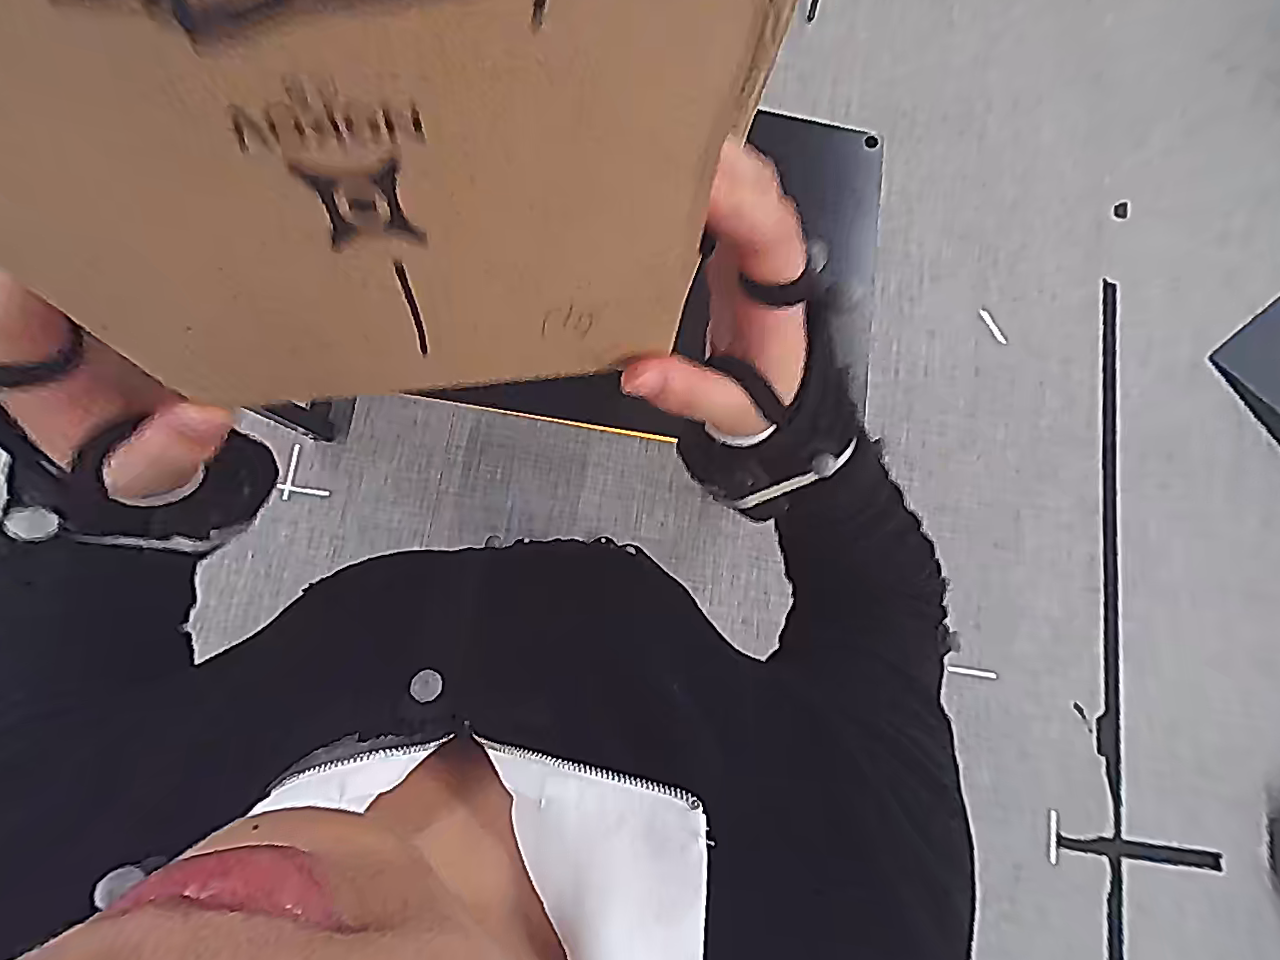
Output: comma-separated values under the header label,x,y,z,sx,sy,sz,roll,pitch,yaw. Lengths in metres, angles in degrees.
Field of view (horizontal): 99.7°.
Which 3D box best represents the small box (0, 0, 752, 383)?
label,x,y,z,sx,sy,sz,roll,pitch,yaw
small box,-0.074,-0.150,0.136,0.168,0.179,0.176,-7,67,-8
